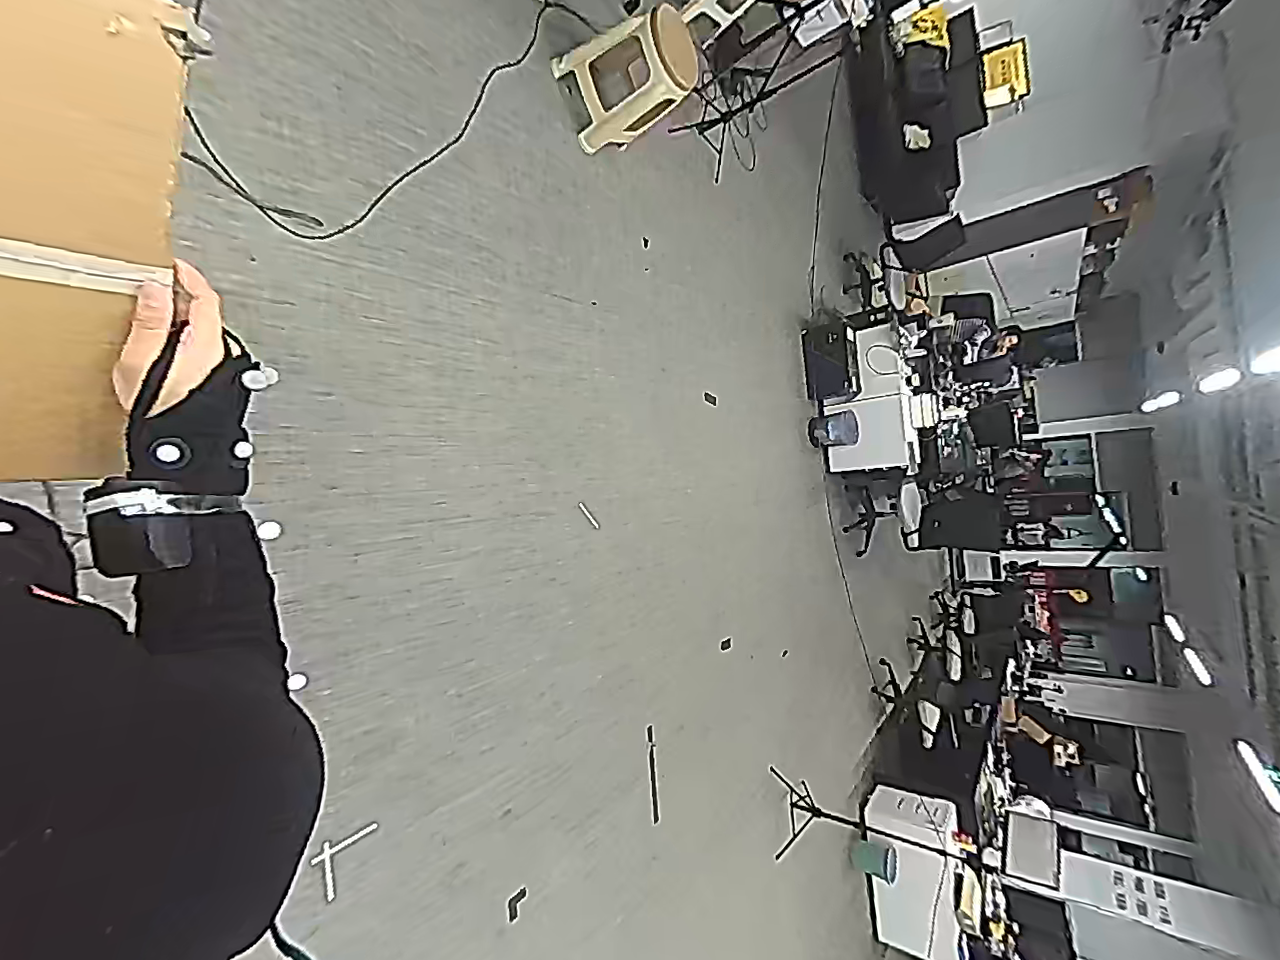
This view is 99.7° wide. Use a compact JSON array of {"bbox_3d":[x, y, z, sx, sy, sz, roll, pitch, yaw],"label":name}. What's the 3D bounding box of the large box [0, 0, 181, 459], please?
[{"bbox_3d":[-0.548,-0.216,0.289,0.408,0.320,0.320,-5,130,-51],"label":"large box"}]
